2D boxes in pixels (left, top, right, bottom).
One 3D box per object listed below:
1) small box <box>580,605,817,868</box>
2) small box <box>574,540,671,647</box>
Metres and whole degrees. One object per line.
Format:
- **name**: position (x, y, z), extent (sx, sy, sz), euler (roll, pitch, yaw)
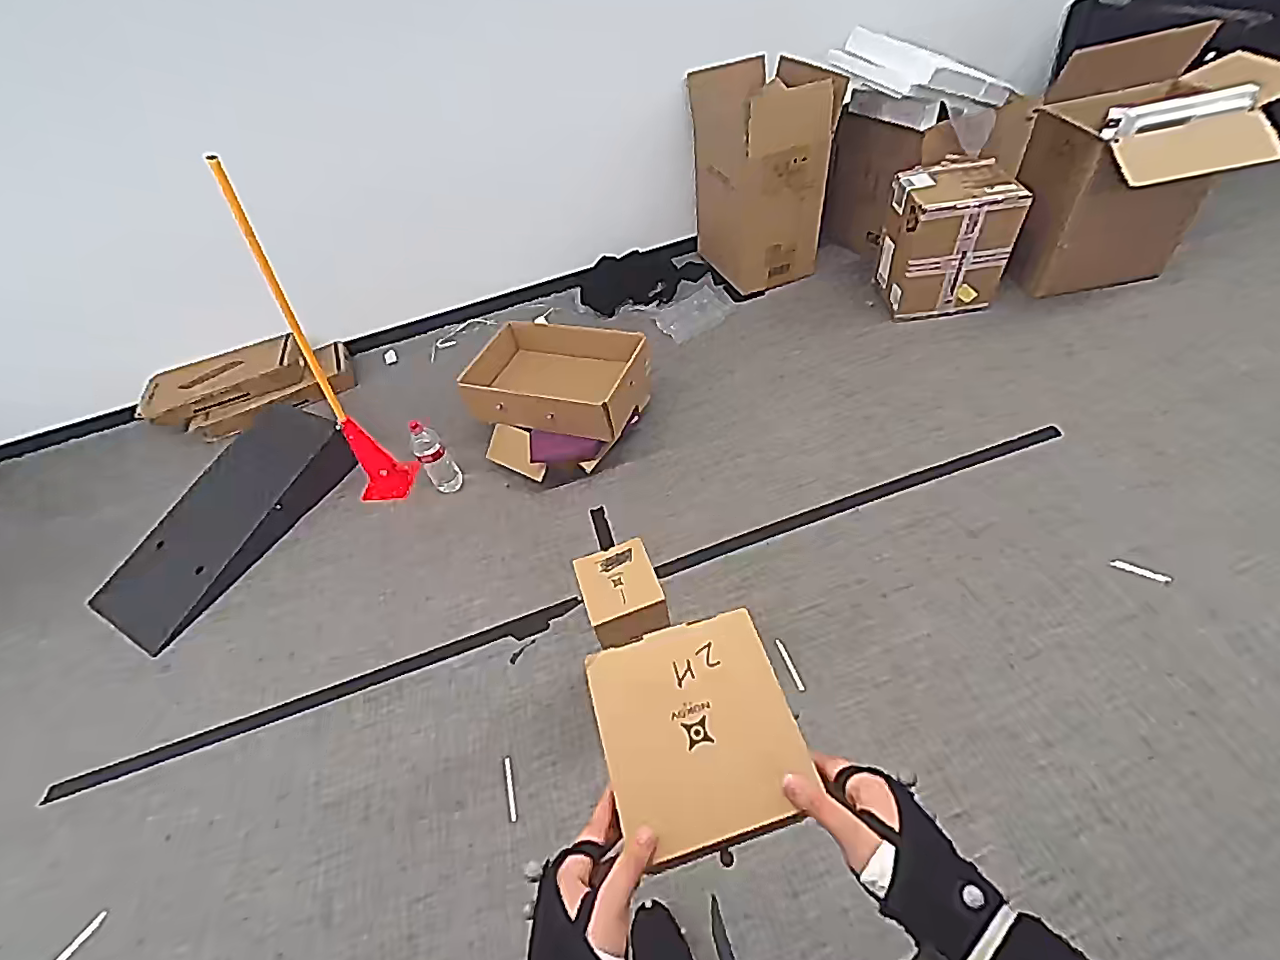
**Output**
- **small box**: position (0.052, 0.256, 0.535), extent (0.168, 0.176, 0.179), euler (-17, 52, -5)
- **small box**: position (-0.038, 0.274, 1.234), extent (0.168, 0.176, 0.179), euler (-20, 49, -6)
